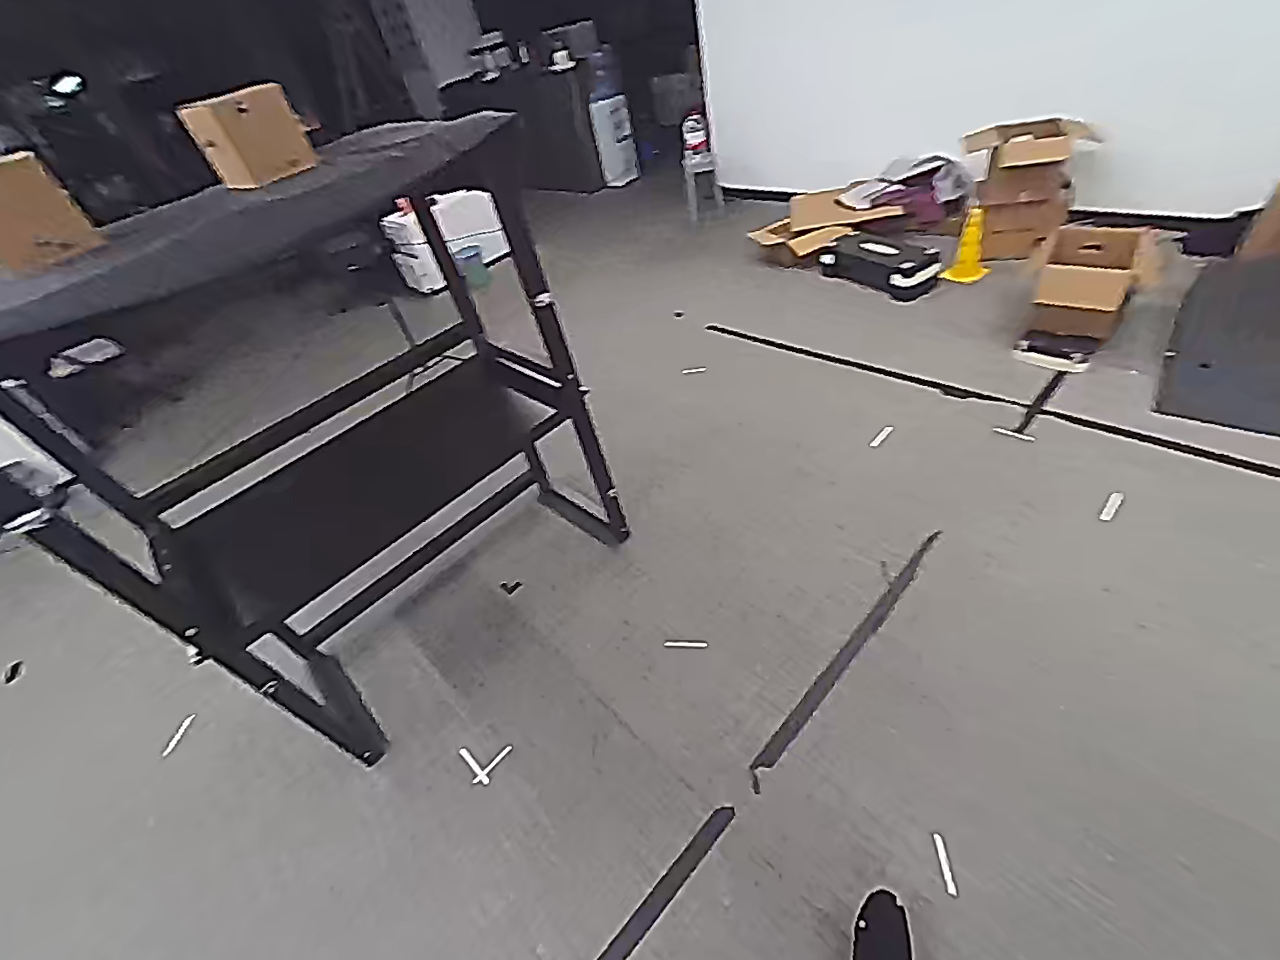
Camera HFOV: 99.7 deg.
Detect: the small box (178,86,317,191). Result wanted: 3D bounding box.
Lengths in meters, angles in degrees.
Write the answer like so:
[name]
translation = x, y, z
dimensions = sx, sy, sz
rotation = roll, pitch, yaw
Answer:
[small box]
translation = -0.906, -0.788, 1.259
dimensions = 0.179, 0.176, 0.168
rotation = 19, 53, 33
